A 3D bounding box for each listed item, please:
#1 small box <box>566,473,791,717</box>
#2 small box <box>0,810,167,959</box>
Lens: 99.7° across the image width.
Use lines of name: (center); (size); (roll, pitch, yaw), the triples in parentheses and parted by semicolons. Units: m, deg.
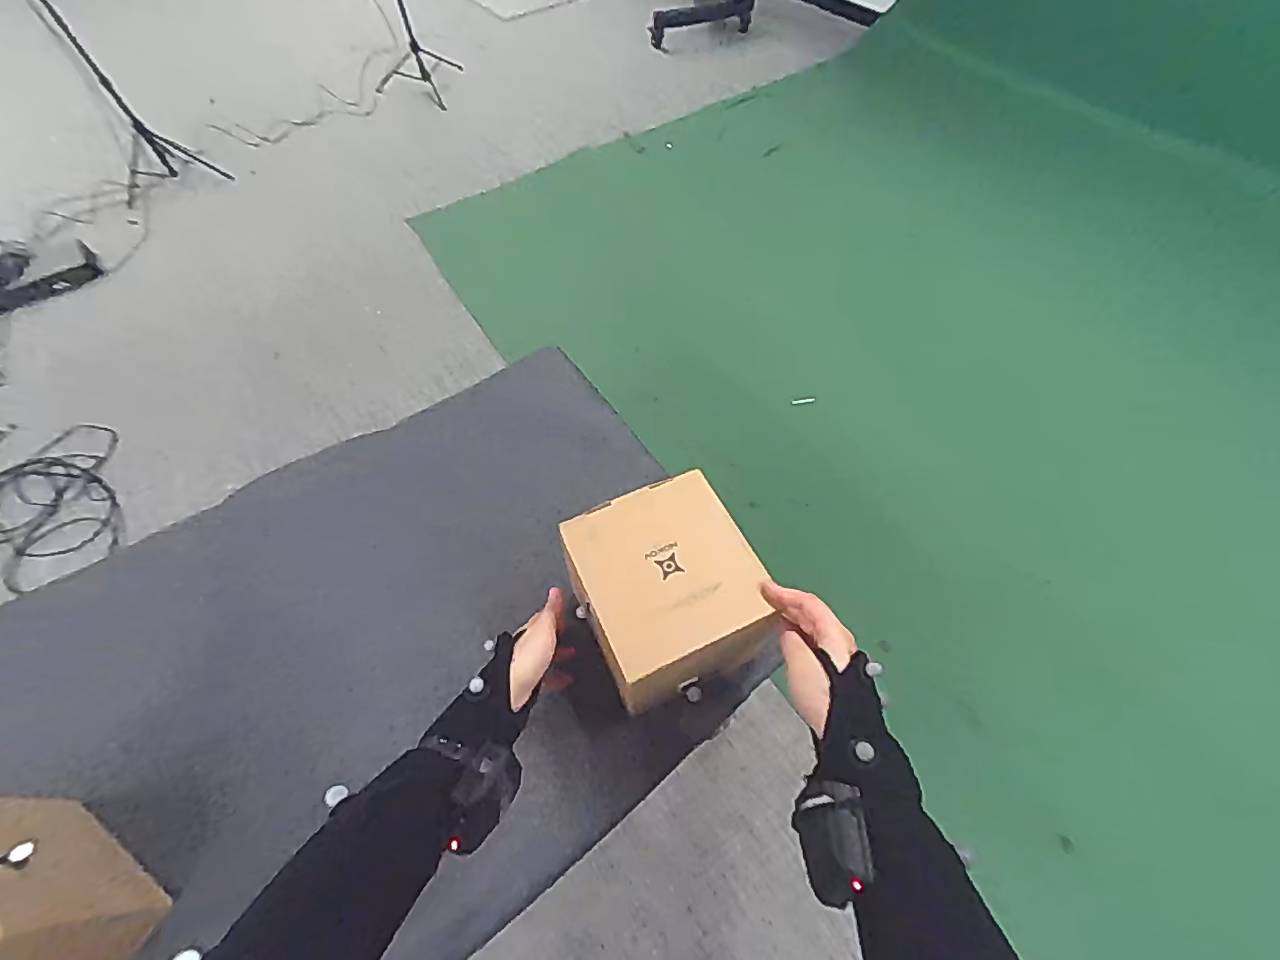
small box: (0.031, 0.129, 0.587); (0.168, 0.176, 0.179); (-22, 59, -13)
small box: (-0.564, 0.398, 0.448); (0.179, 0.176, 0.168); (26, 62, 18)
